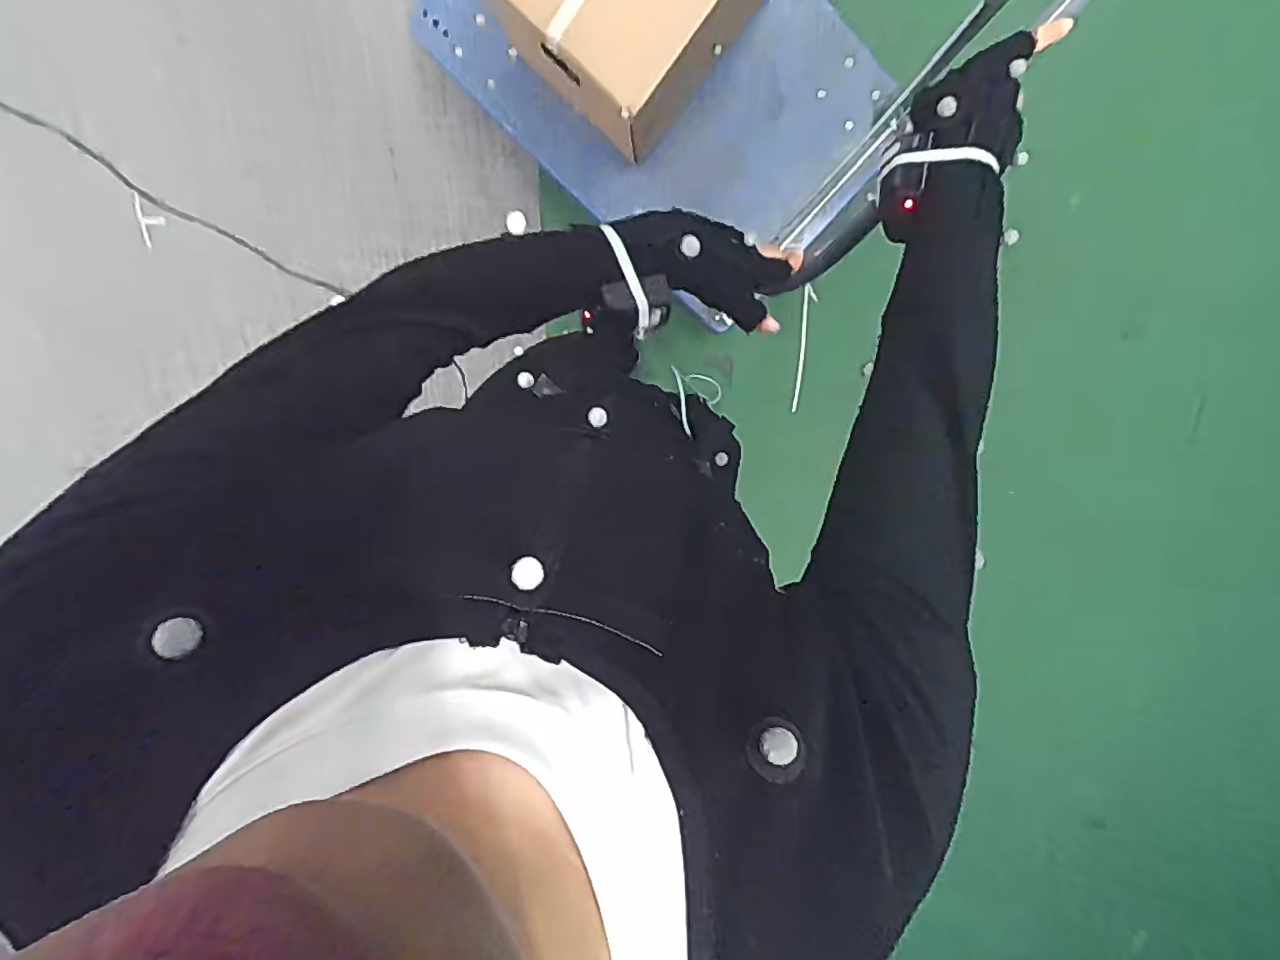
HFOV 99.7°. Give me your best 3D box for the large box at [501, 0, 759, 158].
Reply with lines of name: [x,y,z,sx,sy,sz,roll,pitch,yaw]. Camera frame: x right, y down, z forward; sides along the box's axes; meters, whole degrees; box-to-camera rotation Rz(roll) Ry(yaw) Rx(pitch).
large box: [0.016,-0.843,0.889,0.320,0.320,0.408,39,106,-10]
